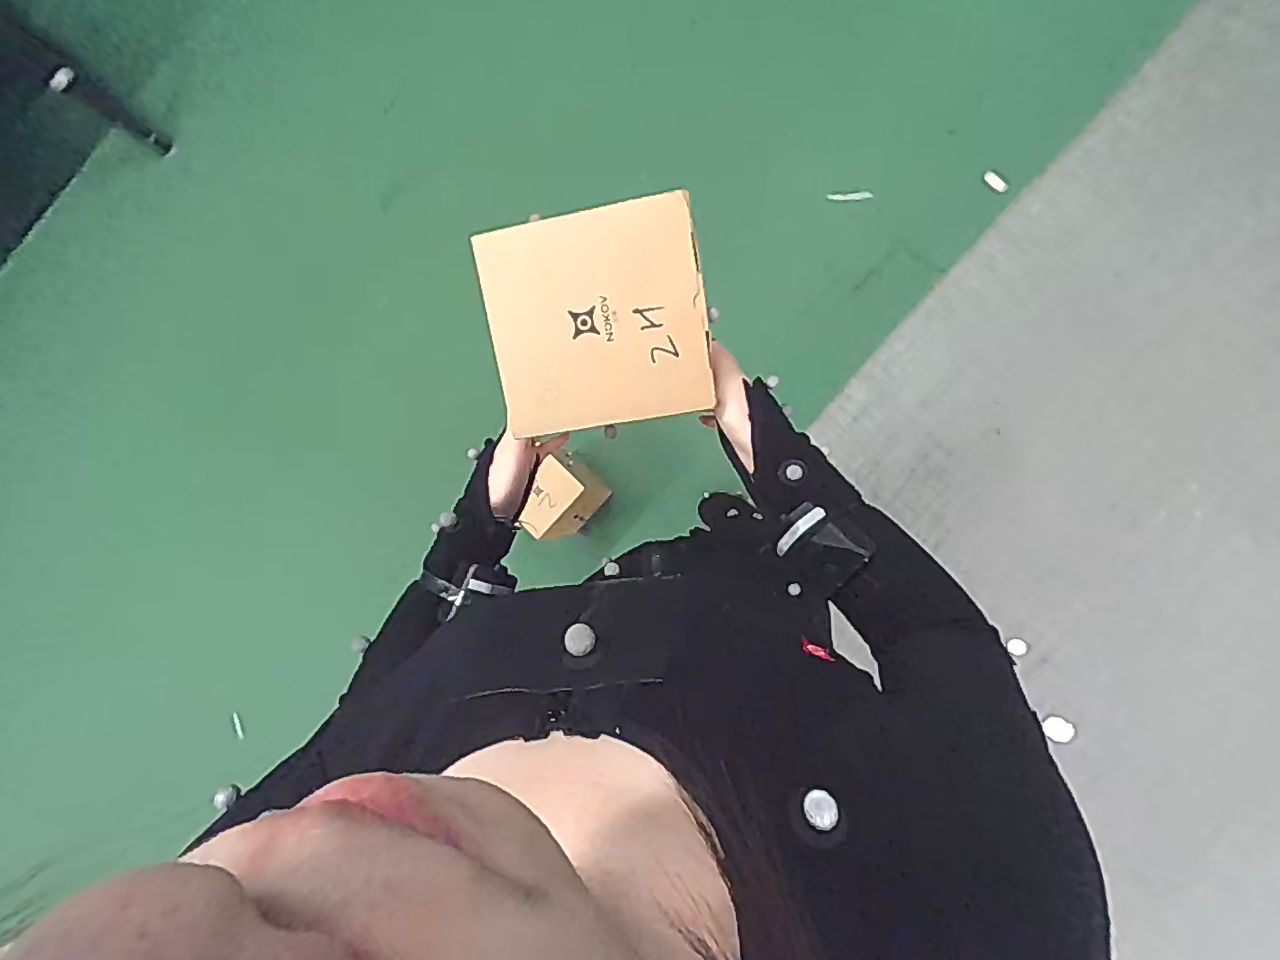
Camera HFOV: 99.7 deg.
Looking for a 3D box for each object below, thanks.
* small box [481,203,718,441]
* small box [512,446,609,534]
[{"bbox_3d":[-0.021,-0.135,0.507,0.179,0.176,0.168,-7,102,8],"label":"small box"},{"bbox_3d":[-0.208,0.028,1.481,0.179,0.176,0.168,43,94,9],"label":"small box"}]
